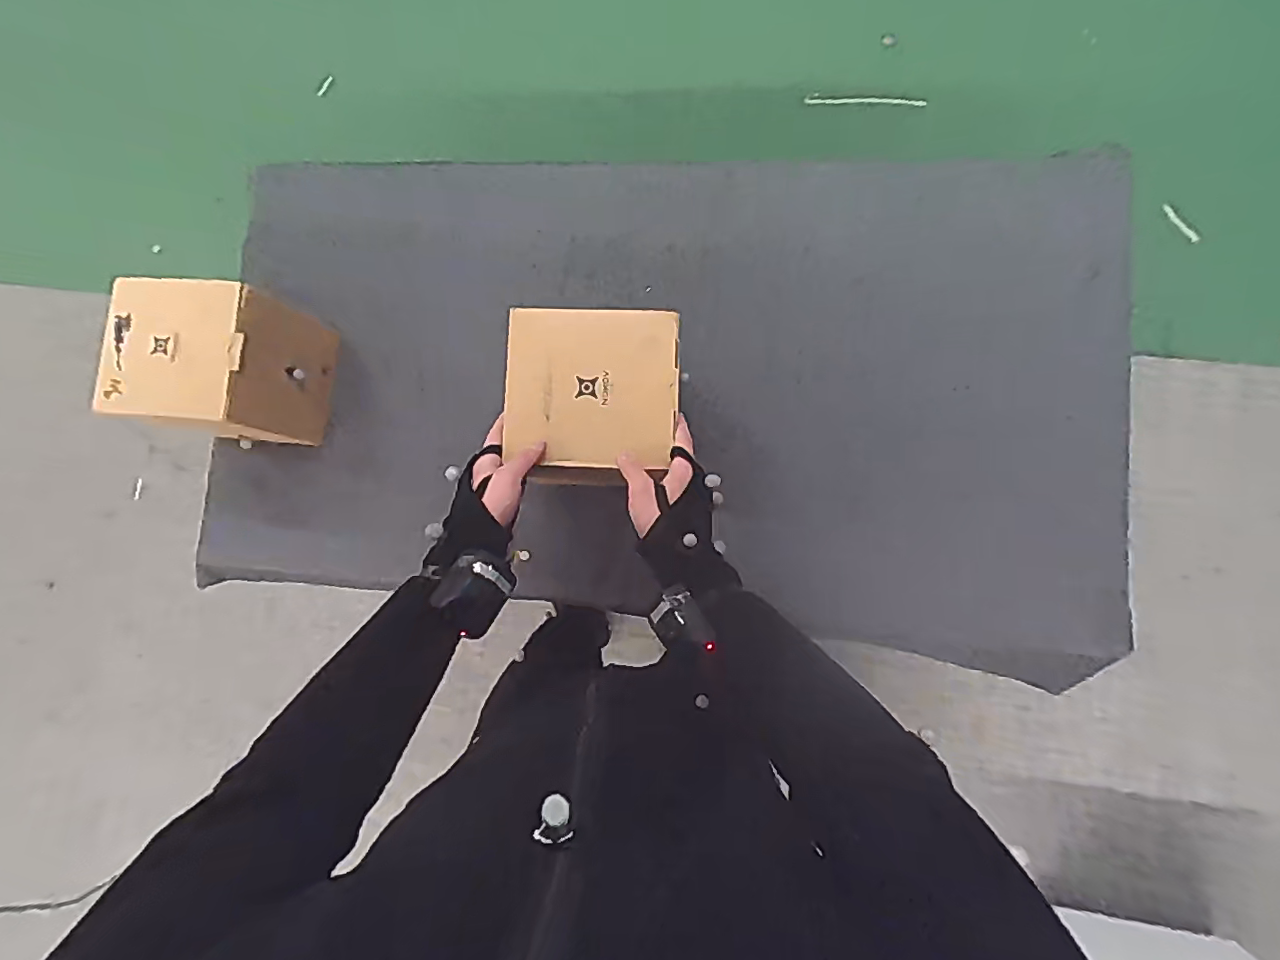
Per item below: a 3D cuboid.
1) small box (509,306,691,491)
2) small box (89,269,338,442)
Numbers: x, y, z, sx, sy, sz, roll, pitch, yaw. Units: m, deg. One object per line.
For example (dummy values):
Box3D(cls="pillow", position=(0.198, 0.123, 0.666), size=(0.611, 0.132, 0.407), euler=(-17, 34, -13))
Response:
Box3D(cls="small box", position=(-0.036, -0.081, 0.615), size=(0.179, 0.176, 0.168), euler=(2, 81, 3))
Box3D(cls="small box", position=(-0.525, -0.148, 0.694), size=(0.179, 0.176, 0.168), euler=(6, 83, 5))
